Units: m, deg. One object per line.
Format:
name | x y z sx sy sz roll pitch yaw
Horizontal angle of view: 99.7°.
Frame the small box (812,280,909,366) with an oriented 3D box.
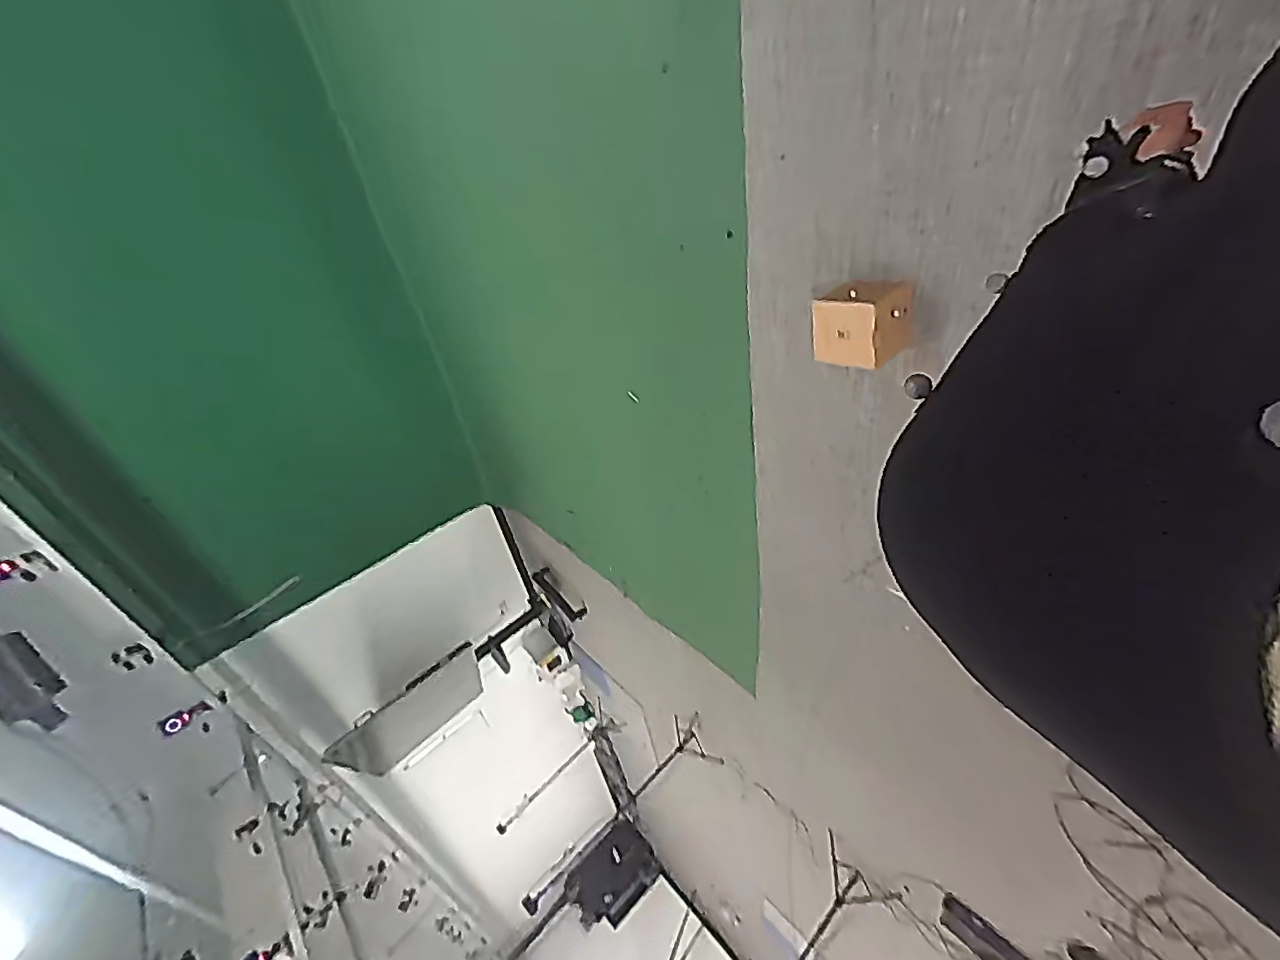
small box | 0.570 -0.411 1.397 0.179 0.176 0.168 24 137 46
